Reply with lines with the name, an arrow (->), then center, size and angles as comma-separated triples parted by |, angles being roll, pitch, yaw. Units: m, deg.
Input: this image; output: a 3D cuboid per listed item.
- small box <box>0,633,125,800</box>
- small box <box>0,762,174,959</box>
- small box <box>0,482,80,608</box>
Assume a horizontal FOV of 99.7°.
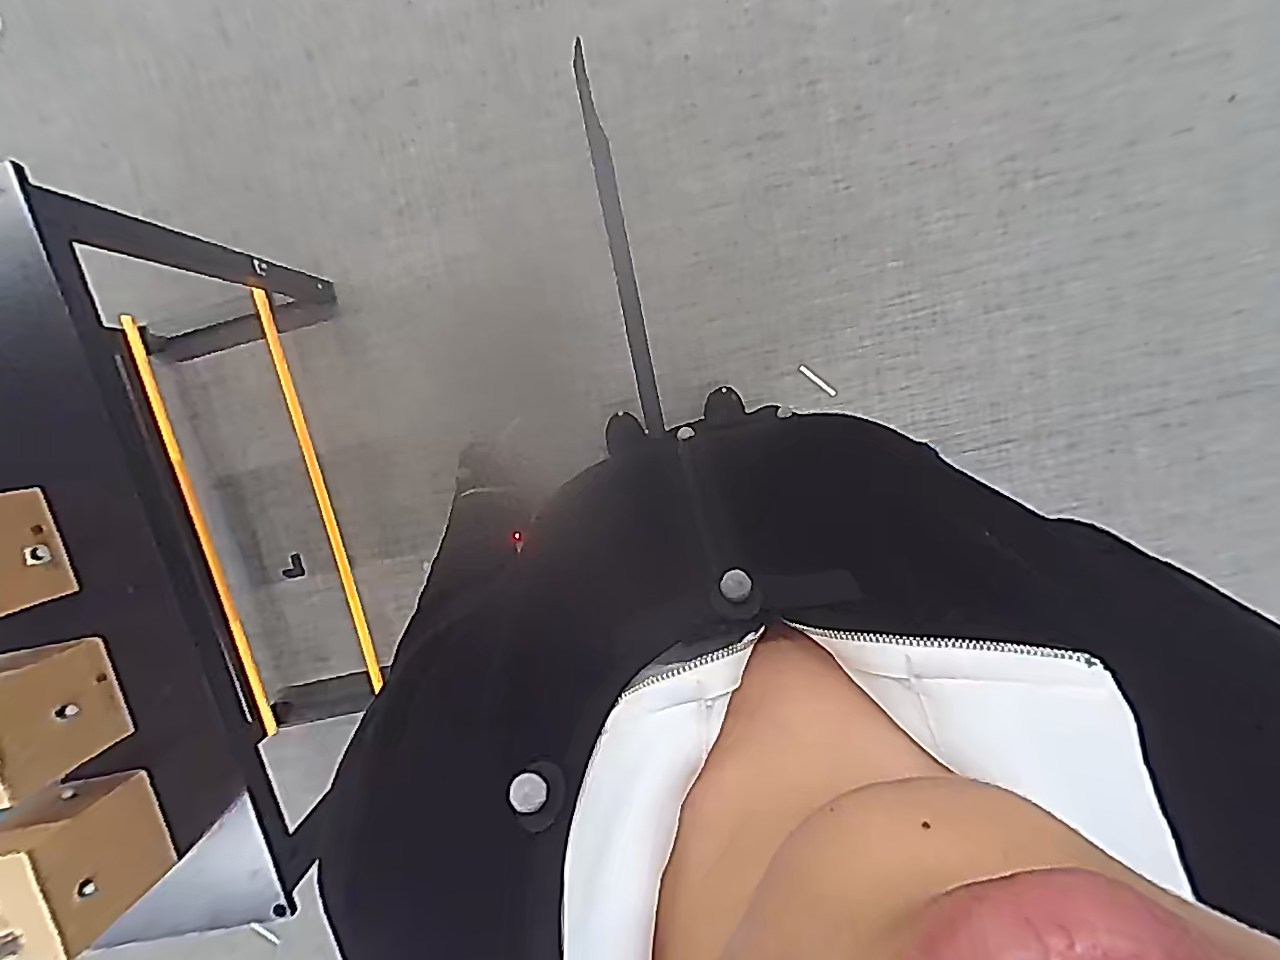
small box -> -0.908, 0.339, 0.782 | 0.179, 0.176, 0.168 | -11, 99, 4
small box -> -0.864, 0.566, 0.814 | 0.168, 0.176, 0.179 | -12, 98, 4
small box -> -0.962, 0.110, 0.749 | 0.179, 0.176, 0.168 | -13, 99, 4
